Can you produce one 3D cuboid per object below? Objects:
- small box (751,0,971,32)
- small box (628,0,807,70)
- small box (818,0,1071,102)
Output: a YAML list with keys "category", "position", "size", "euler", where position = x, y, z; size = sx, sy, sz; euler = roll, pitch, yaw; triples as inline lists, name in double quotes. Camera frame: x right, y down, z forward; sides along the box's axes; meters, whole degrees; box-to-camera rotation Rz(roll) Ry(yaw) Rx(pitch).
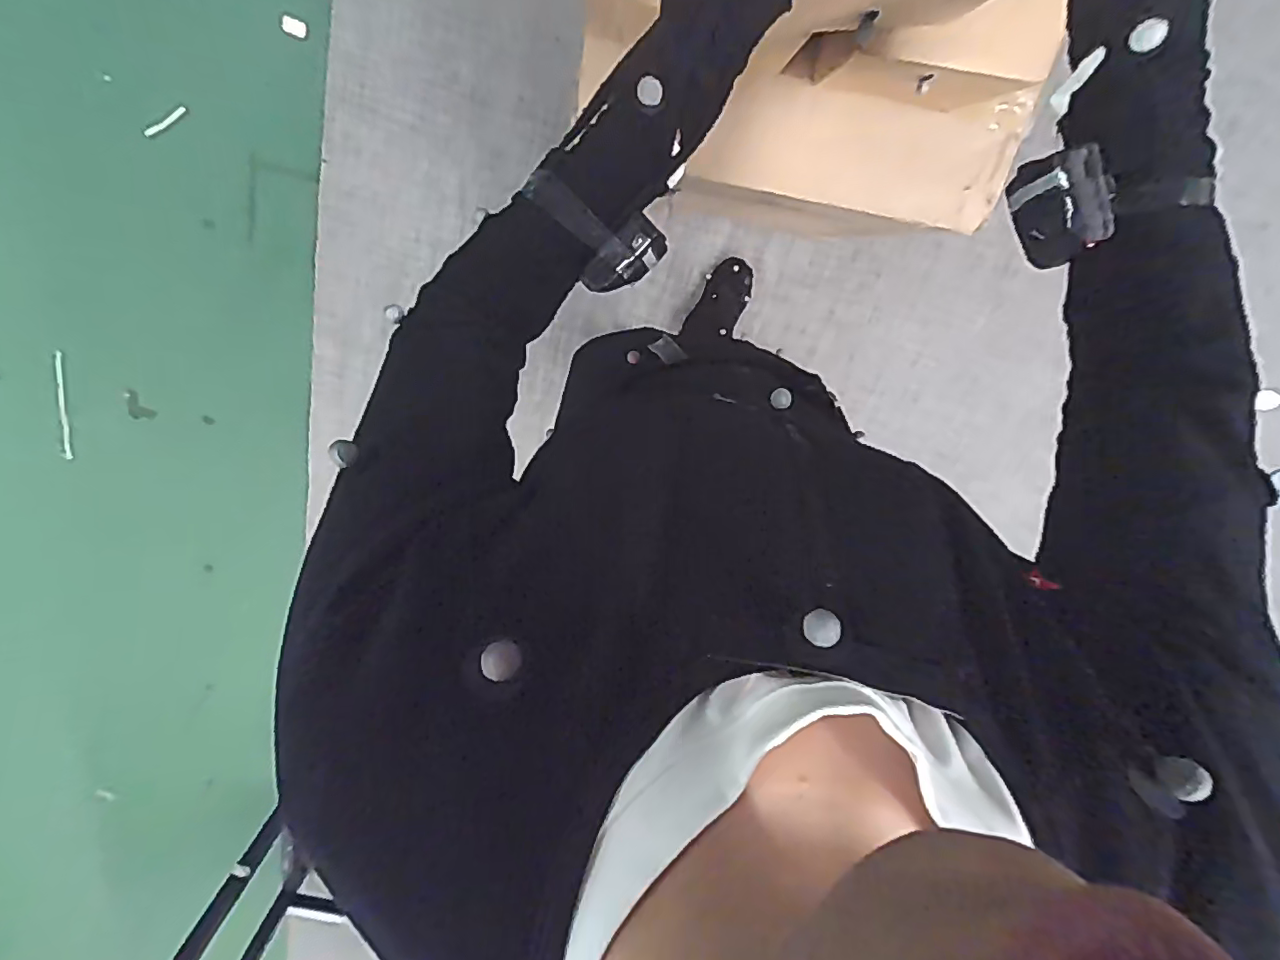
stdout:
- category: "small box"
  position: [0.181, -0.435, 0.370]
  size: [0.179, 0.176, 0.168]
  euler: [-2, 117, 2]
- category: "small box"
  position: [0.082, -0.518, 0.515]
  size: [0.179, 0.176, 0.168]
  euler: [9, 117, -3]
- category: "small box"
  position: [0.293, -0.485, 0.524]
  size: [0.179, 0.176, 0.168]
  euler: [7, 118, -3]
